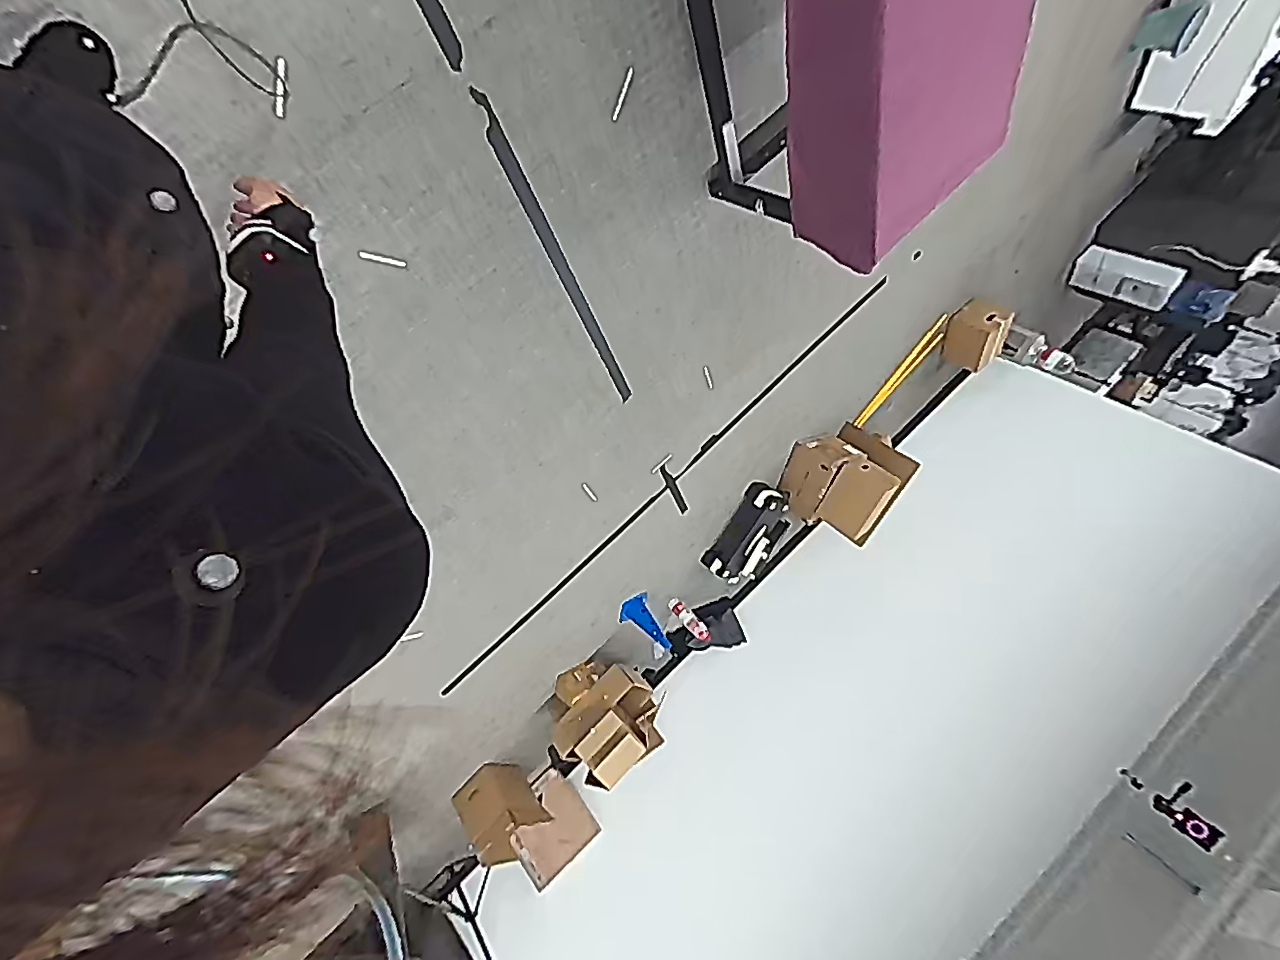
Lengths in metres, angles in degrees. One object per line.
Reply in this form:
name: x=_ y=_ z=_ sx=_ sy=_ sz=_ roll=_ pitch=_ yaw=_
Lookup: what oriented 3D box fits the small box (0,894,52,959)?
small box: x=-1.141 y=0.839 z=0.900 sx=0.179 sy=0.176 sz=0.168 roll=-40 pitch=146 yaw=-11
